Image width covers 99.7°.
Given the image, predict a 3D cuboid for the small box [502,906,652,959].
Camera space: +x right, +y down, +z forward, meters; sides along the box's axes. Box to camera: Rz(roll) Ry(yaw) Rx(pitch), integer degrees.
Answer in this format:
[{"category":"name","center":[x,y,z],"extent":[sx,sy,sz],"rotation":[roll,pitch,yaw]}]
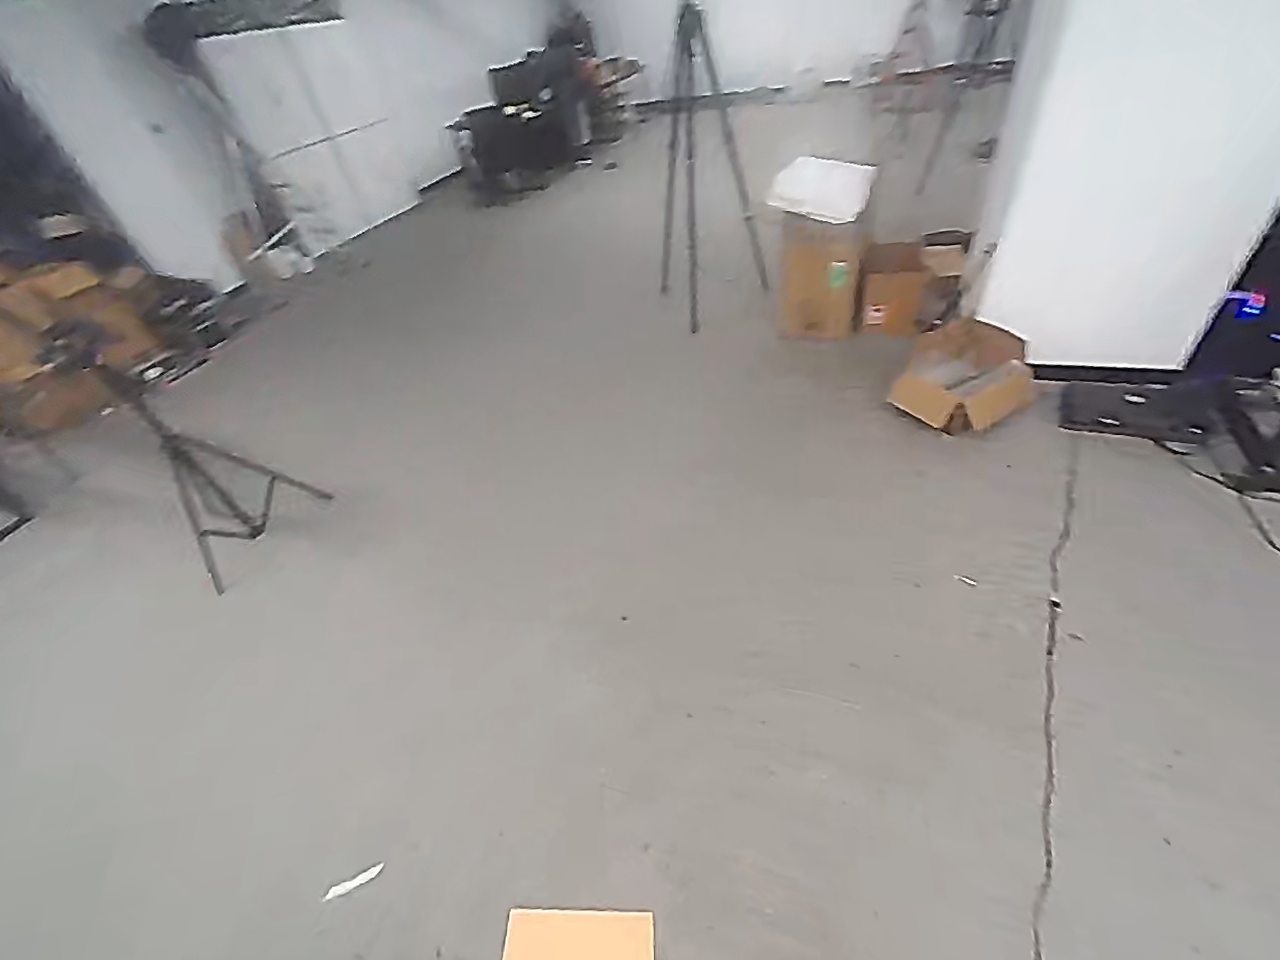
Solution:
[{"category":"small box","center":[-0.077,0.609,0.604],"extent":[0.168,0.176,0.179],"rotation":[4,40,-3]}]
